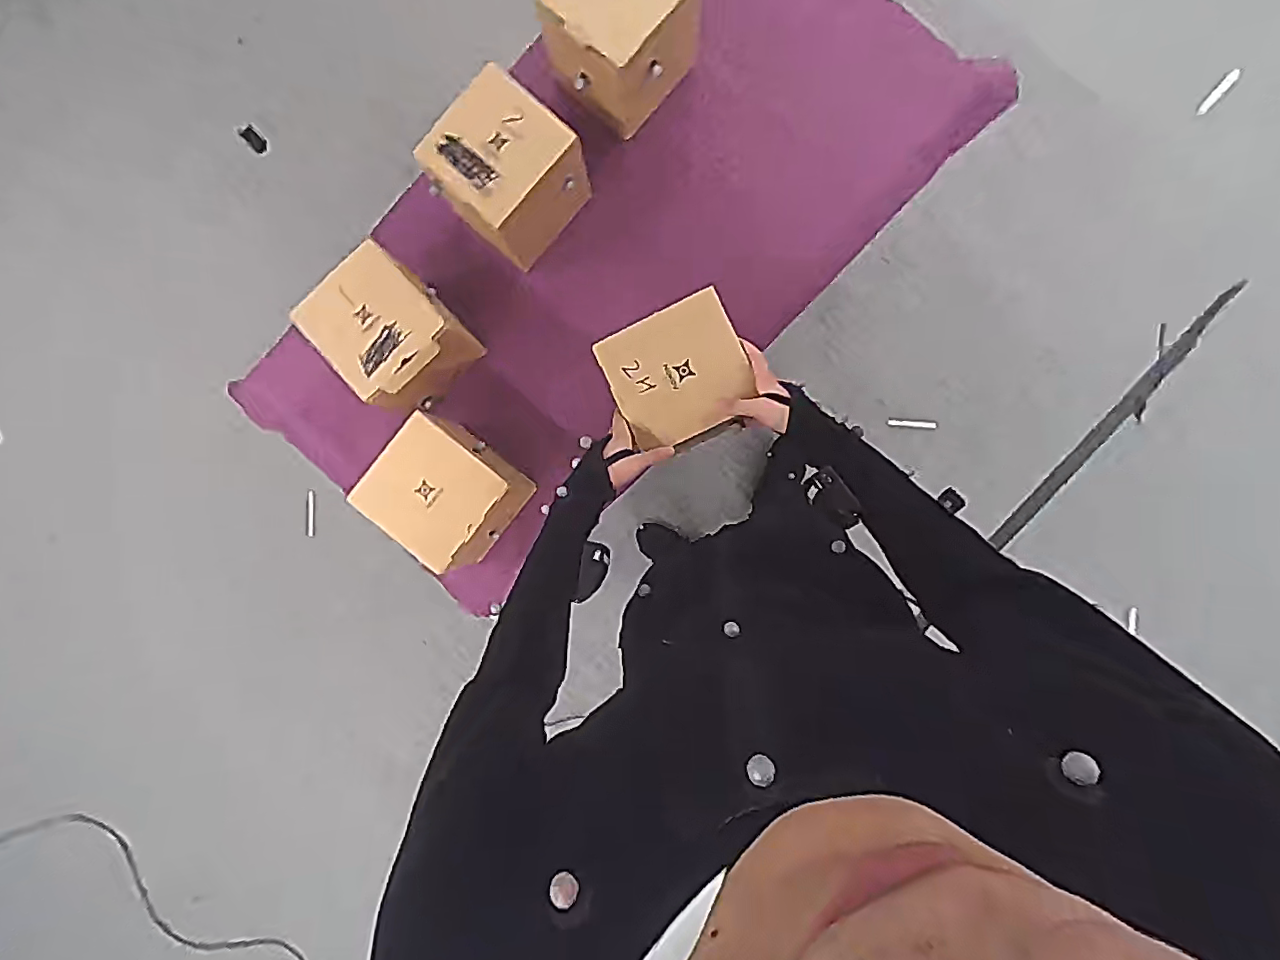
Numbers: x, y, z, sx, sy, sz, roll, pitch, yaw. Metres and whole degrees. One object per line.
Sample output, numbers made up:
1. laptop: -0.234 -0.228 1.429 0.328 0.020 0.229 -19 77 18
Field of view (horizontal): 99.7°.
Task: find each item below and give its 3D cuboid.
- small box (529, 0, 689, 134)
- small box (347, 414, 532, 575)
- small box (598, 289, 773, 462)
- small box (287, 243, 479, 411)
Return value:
1. small box: -0.035 -0.684 0.824 0.168 0.176 0.179 41 94 0
2. small box: -0.296 0.024 0.839 0.179 0.176 0.168 37 90 2
3. small box: 0.063 -0.133 0.759 0.179 0.176 0.168 -25 87 6
4. small box: -0.385 -0.222 0.846 0.168 0.176 0.179 -43 88 2
